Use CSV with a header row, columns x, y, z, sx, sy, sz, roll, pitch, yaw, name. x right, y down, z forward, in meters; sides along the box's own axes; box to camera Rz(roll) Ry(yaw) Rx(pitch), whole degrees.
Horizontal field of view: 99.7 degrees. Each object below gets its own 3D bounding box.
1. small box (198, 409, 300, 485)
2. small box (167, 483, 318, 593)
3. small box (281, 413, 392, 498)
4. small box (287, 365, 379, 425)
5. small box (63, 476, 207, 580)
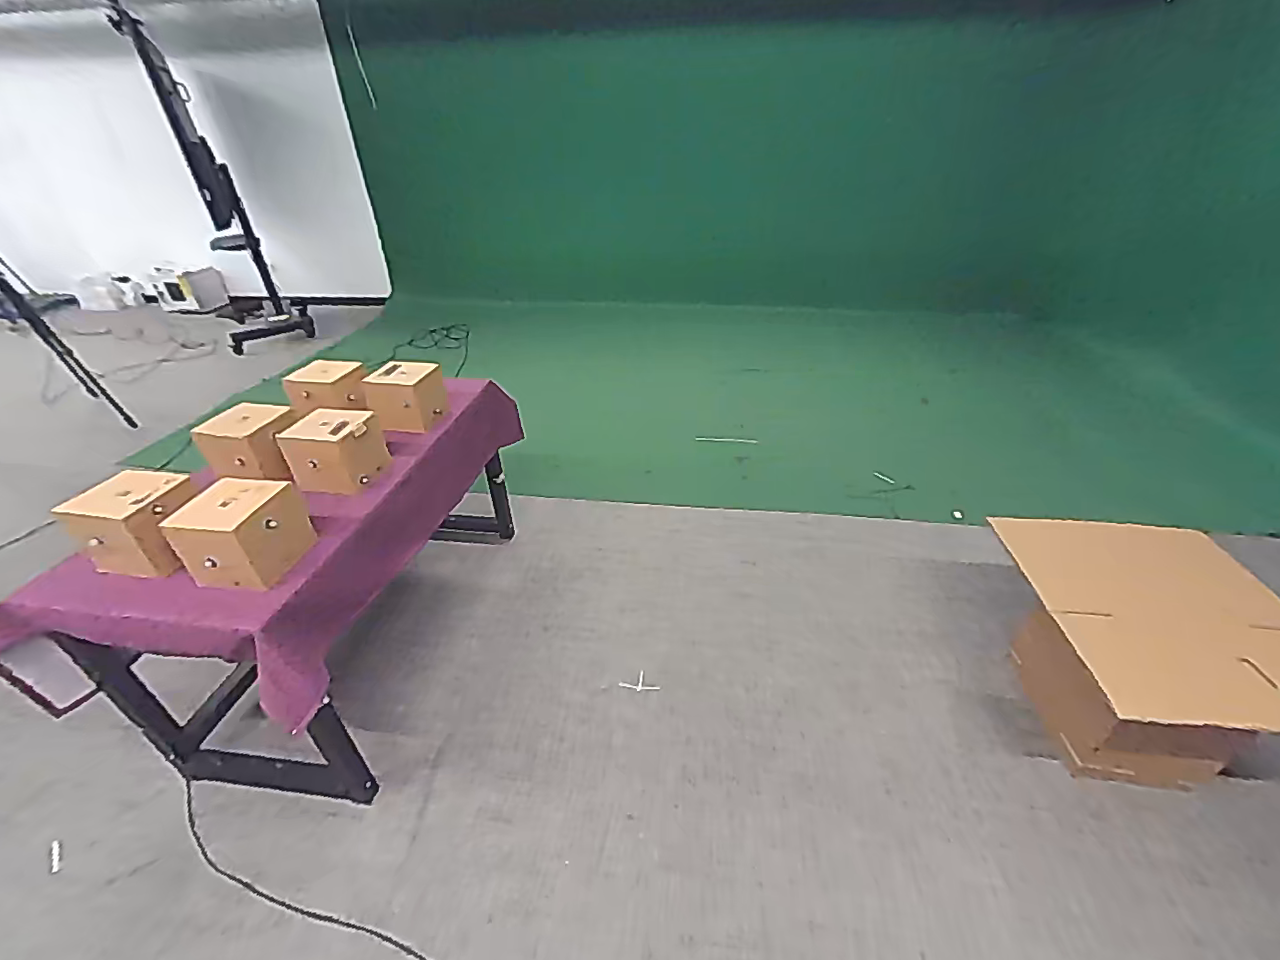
x,y,z,sx,sy,sz,roll,pitch,yaw,name
-1.048,-0.082,1.497,0.168,0.176,0.179,6,34,10,small box
-0.841,0.125,1.169,0.168,0.176,0.179,3,34,8,small box
-0.802,-0.066,1.455,0.179,0.176,0.168,3,34,10,small box
-0.992,-0.262,1.765,0.179,0.176,0.168,5,34,11,small box
-1.095,0.107,1.211,0.179,0.176,0.168,4,34,9,small box
